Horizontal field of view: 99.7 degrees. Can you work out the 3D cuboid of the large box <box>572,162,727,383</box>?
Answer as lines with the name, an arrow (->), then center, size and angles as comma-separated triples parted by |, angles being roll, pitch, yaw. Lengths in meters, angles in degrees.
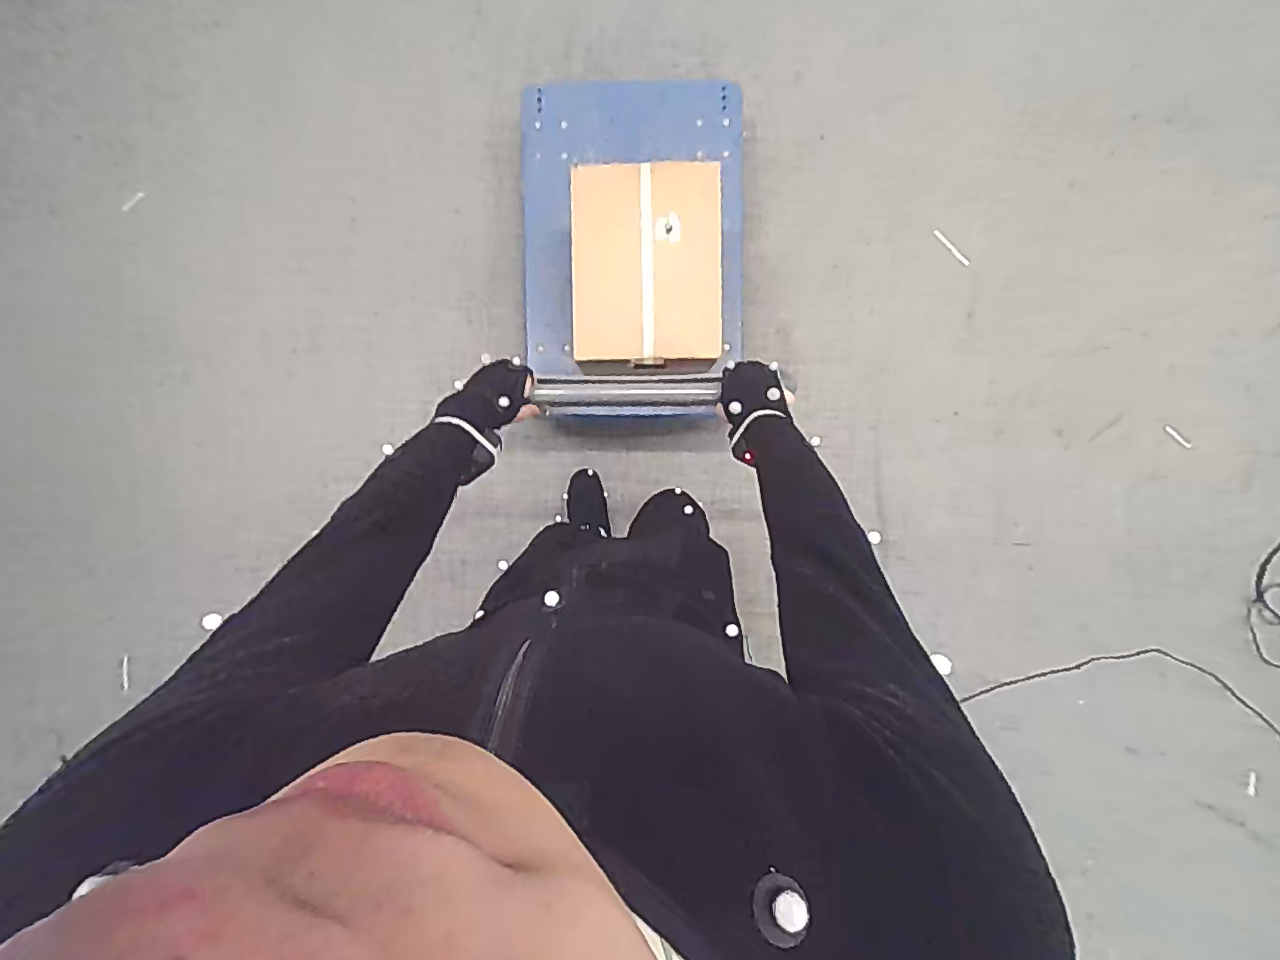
large box -> 0.021, -0.452, 1.260 | 0.320, 0.320, 0.408 | -1, 91, 0
